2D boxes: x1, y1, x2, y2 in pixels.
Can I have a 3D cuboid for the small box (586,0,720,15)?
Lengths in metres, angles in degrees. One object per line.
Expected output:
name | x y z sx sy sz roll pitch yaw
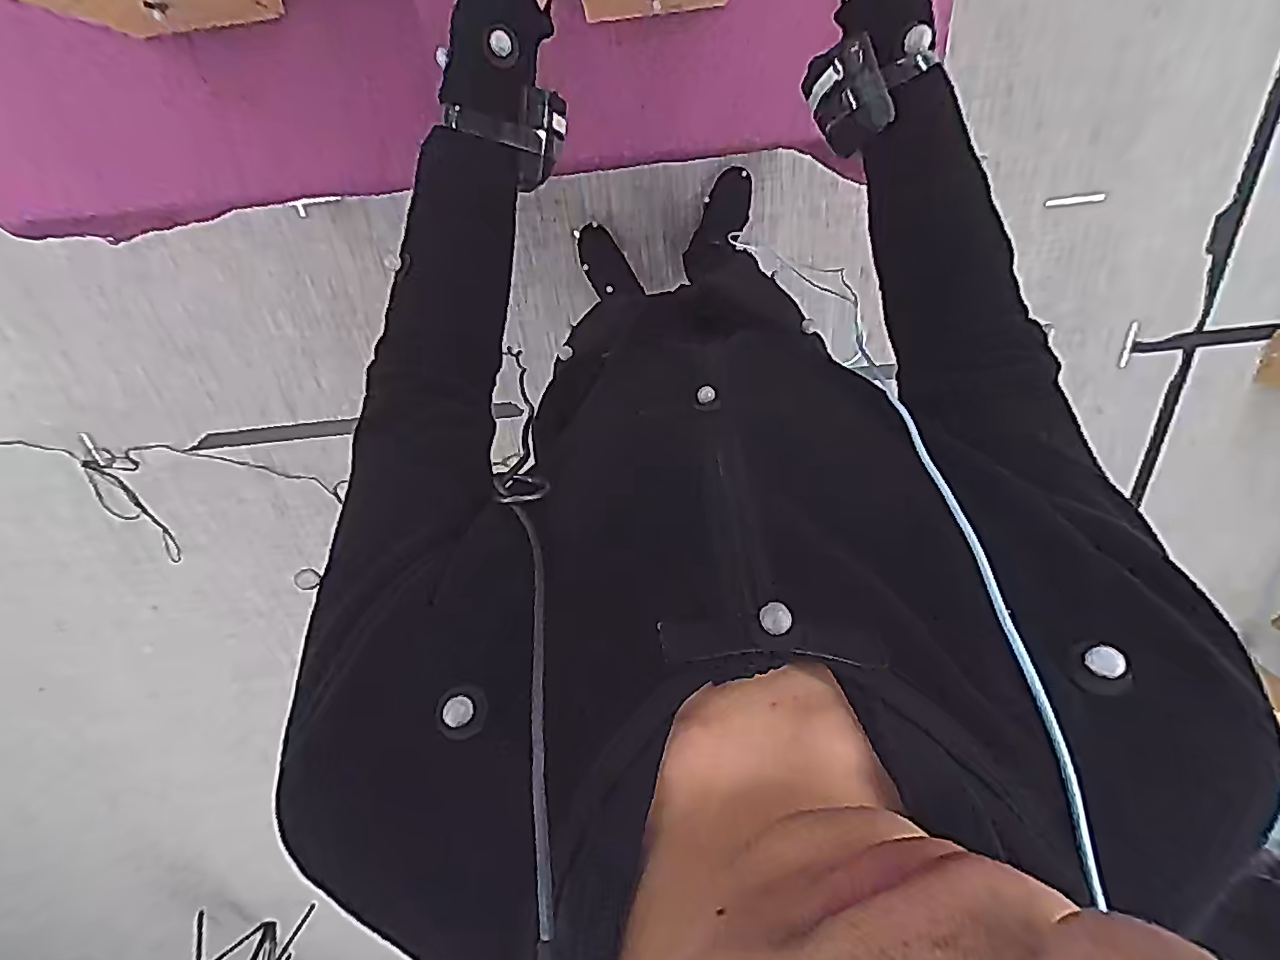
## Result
small box | 0.014 -0.586 0.527 0.168 0.176 0.179 -6 118 1

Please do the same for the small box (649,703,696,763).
small box | 0.131 1.057 2.265 0.179 0.176 0.168 -1 118 -4
